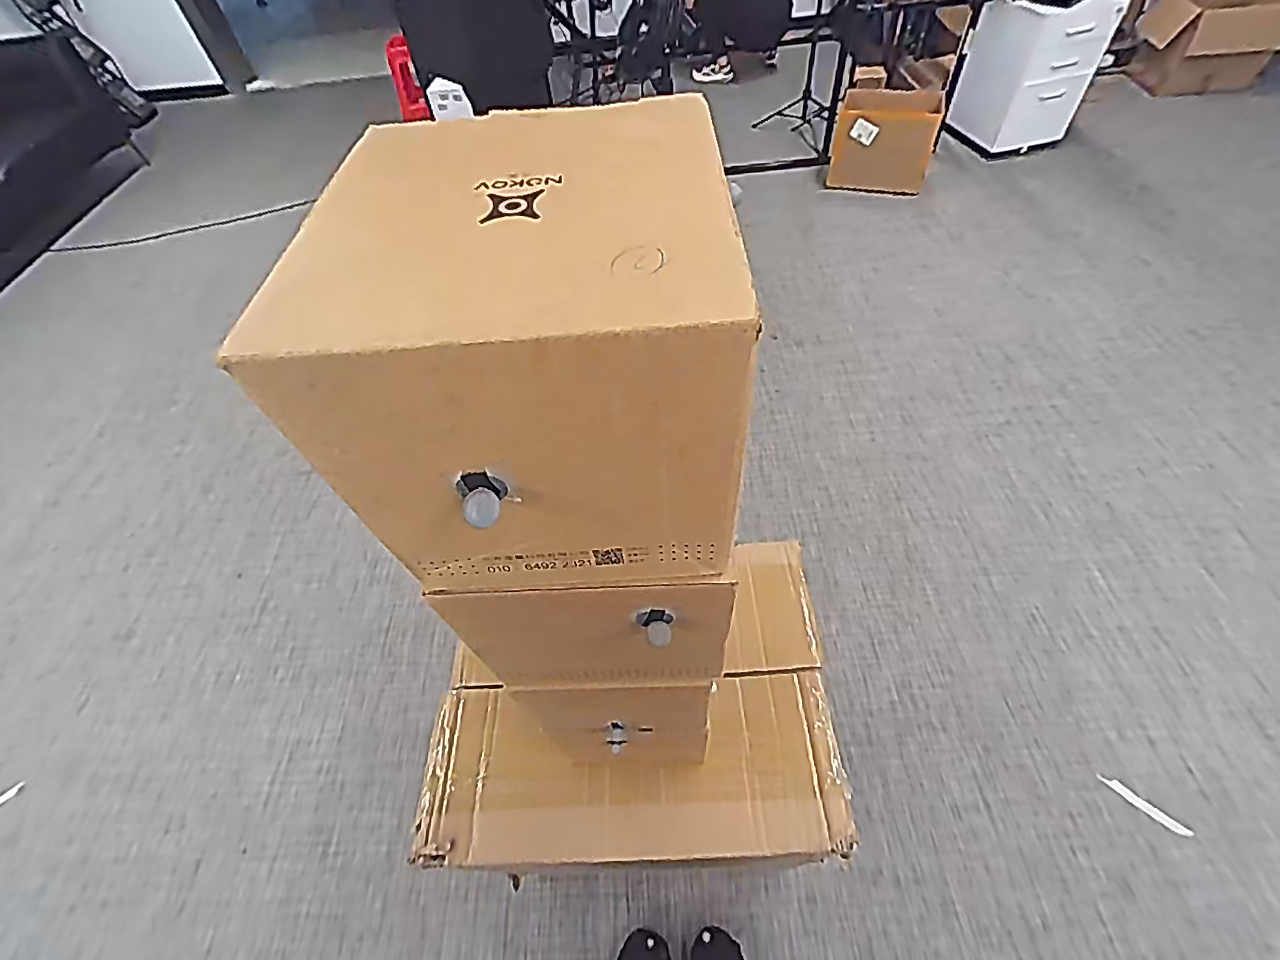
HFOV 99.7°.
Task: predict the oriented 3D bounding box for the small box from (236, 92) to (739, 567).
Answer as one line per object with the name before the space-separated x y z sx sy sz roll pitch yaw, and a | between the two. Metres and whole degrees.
small box | -0.044 -0.065 0.280 0.168 0.176 0.179 -4 53 2

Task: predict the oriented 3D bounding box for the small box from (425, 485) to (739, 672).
small box | -0.028 0.037 0.406 0.179 0.176 0.168 -3 53 3

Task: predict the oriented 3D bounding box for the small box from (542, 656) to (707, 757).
small box | -0.010 0.237 0.667 0.179 0.176 0.168 -3 53 3
